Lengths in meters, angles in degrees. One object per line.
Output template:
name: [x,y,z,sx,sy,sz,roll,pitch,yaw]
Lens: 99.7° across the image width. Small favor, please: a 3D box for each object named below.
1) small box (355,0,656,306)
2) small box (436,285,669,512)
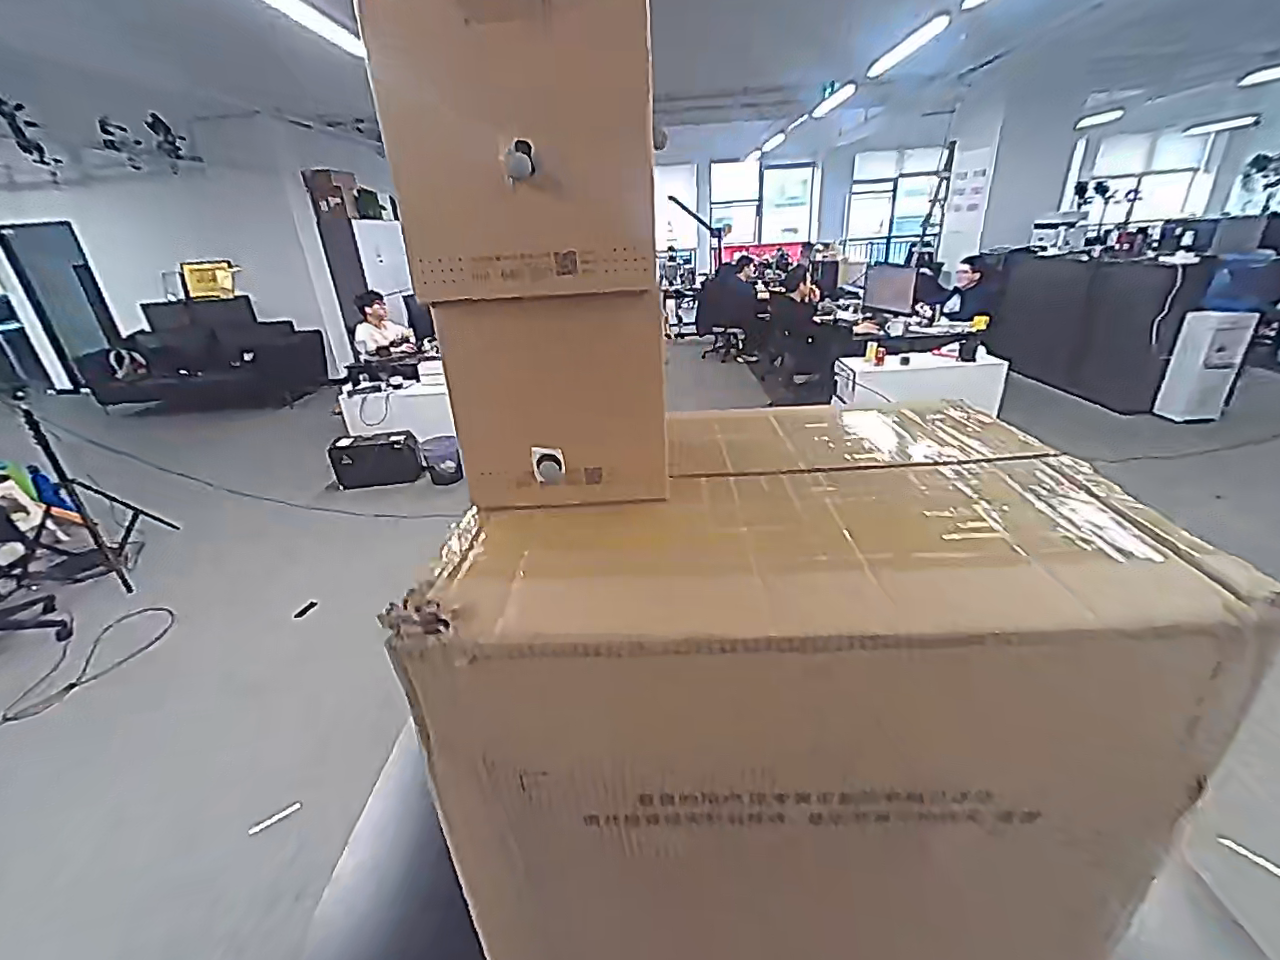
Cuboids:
small box: [-0.076,-0.228,0.411,0.168,0.176,0.179,-4,24,0]
small box: [-0.064,-0.085,0.492,0.168,0.176,0.179,-5,25,-1]
